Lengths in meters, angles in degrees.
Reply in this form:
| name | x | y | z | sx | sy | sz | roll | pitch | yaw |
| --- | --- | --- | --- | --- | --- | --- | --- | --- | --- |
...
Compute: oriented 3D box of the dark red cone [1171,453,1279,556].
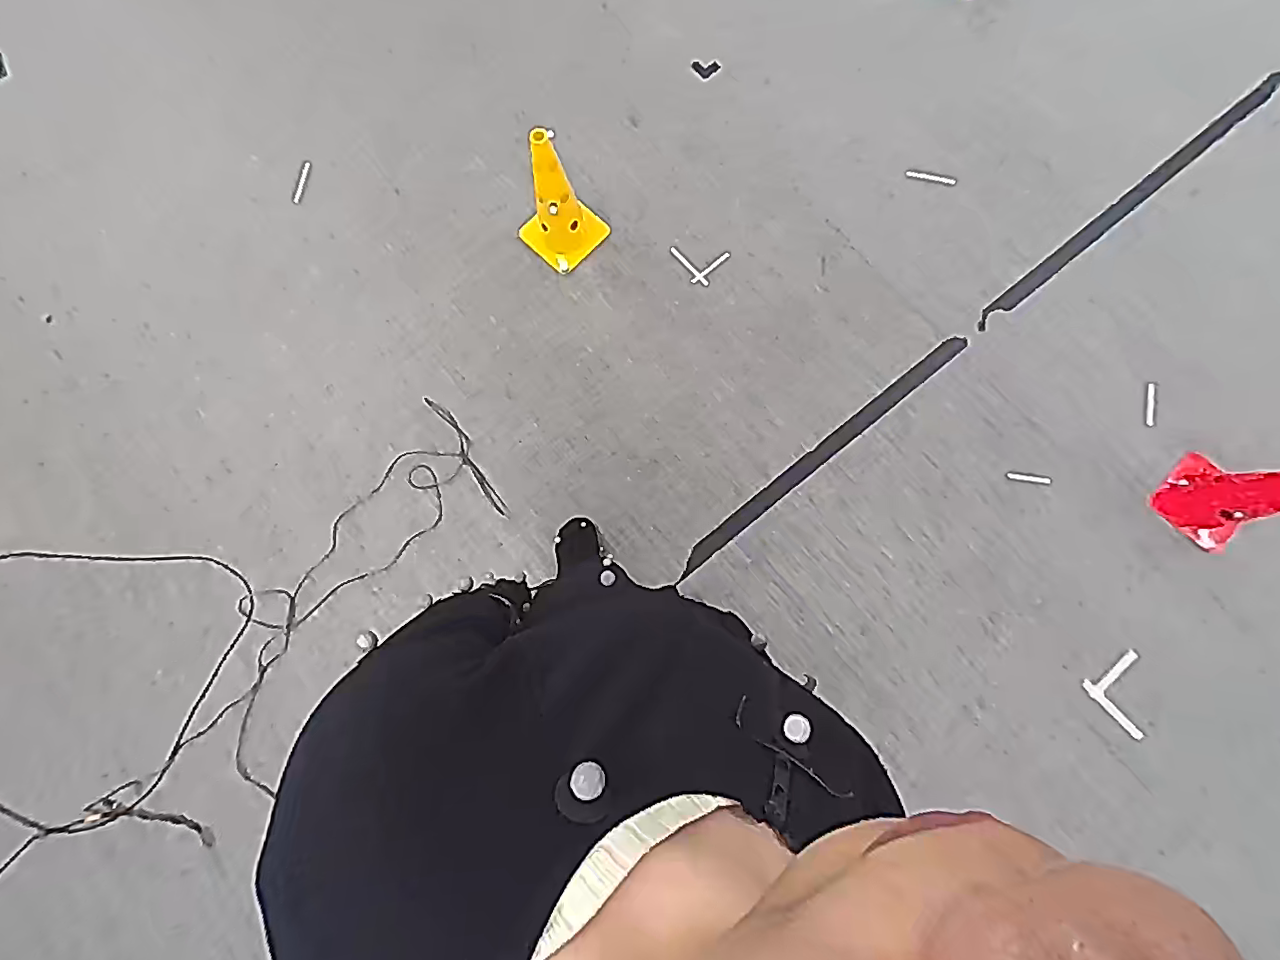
| name | x | y | z | sx | sy | sz | roll | pitch | yaw |
| --- | --- | --- | --- | --- | --- | --- | --- | --- | --- |
| dark red cone | 1.432 | 0.029 | 1.171 | 0.201 | 0.394 | 0.202 | 43 | 84 | 9 |
